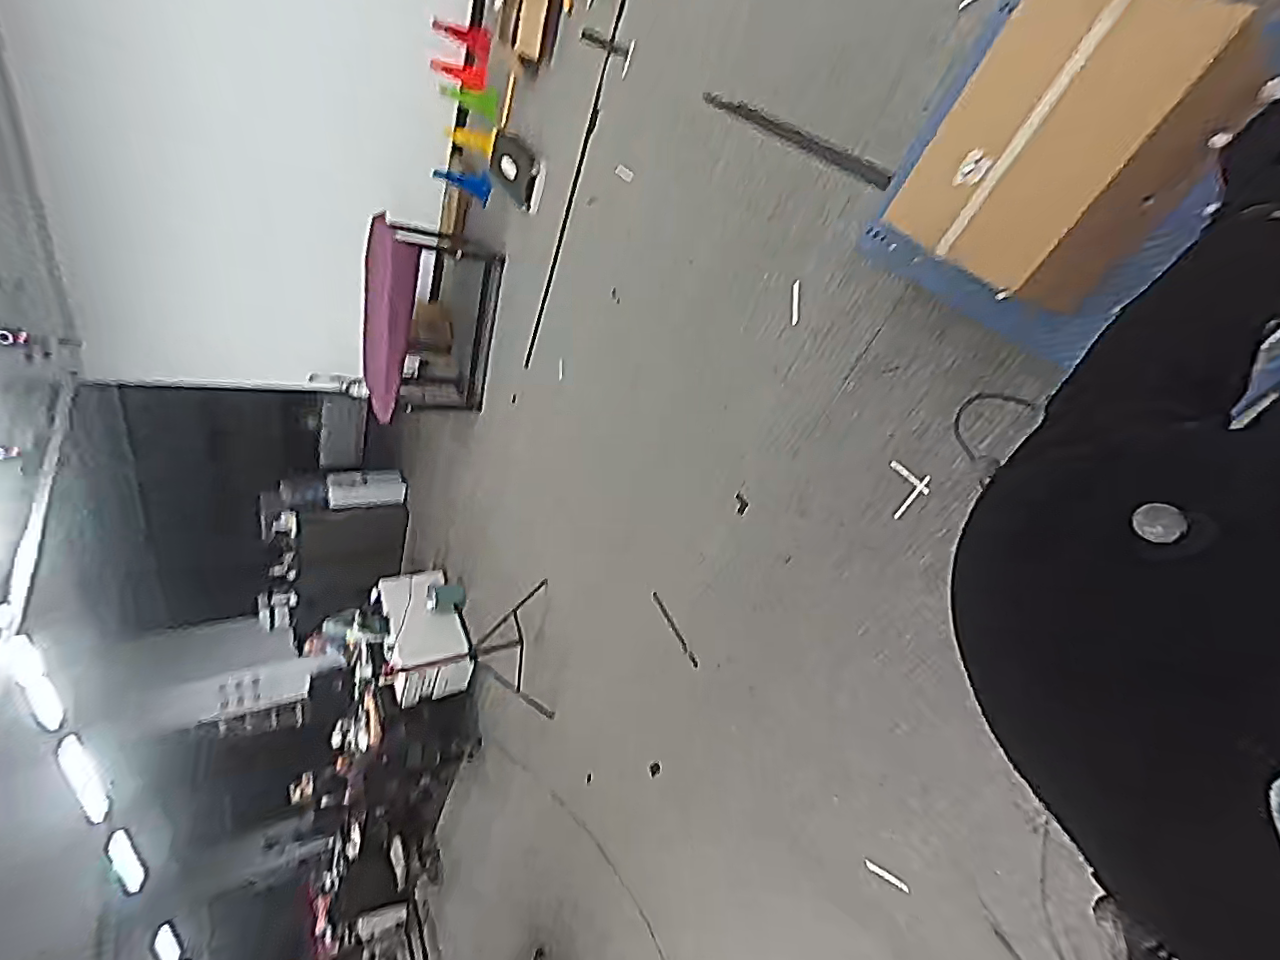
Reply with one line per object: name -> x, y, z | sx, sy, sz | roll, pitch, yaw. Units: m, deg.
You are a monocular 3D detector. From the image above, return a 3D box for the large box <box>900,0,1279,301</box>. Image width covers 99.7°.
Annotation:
large box -> 0.774, -0.587, 0.959 | 0.320, 0.320, 0.408 | 57, 136, 34
